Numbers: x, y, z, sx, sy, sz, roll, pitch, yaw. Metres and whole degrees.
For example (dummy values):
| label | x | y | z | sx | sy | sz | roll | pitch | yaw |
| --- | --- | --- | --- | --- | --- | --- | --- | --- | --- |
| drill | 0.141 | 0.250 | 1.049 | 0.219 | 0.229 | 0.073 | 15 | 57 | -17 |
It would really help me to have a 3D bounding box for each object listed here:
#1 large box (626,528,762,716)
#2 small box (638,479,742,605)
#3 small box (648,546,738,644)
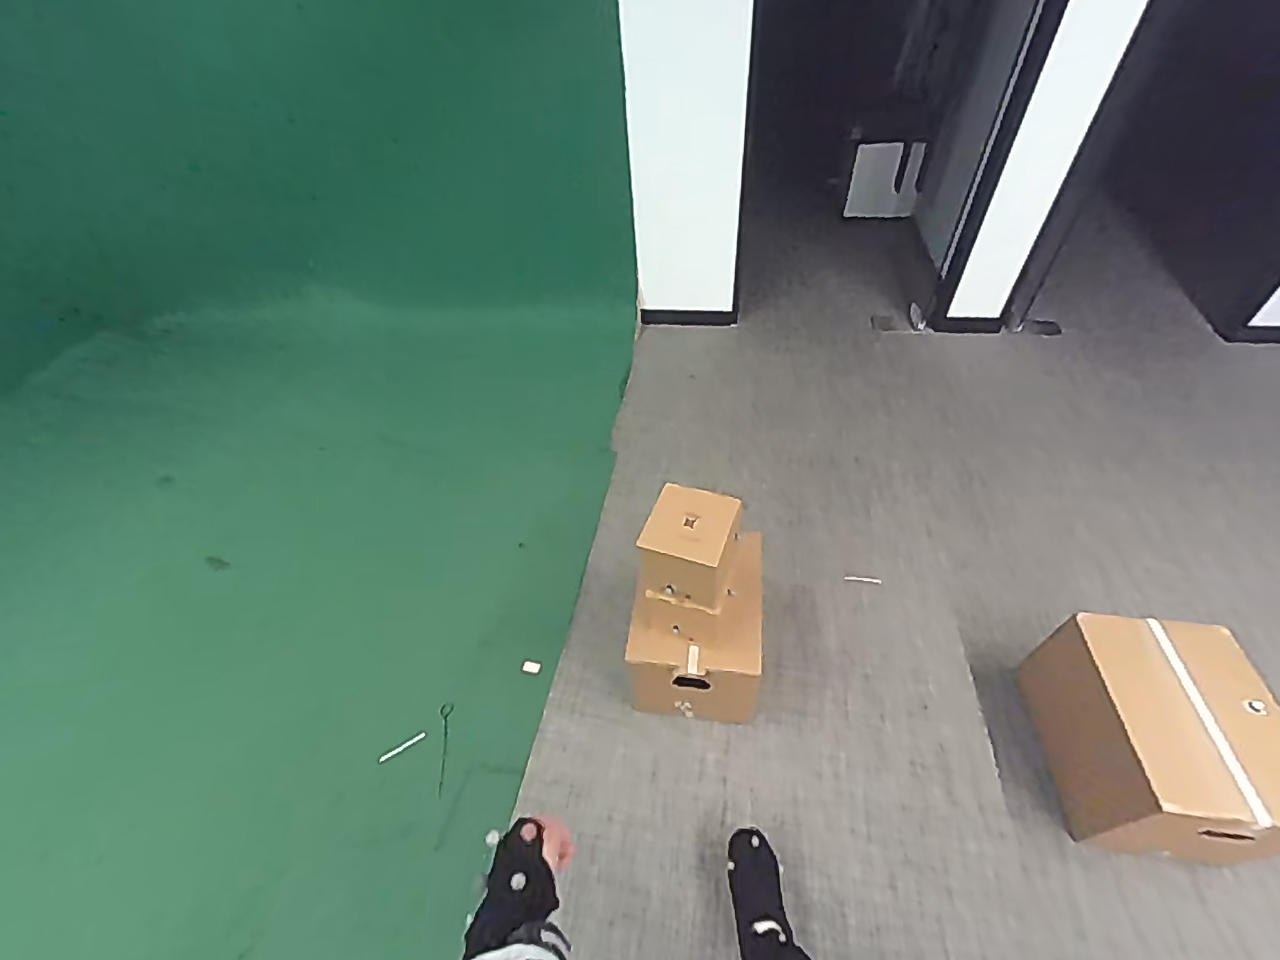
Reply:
| label | x | y | z | sx | sy | sz | roll | pitch | yaw |
| --- | --- | --- | --- | --- | --- | --- | --- | --- | --- |
| large box | 0.153 | 0.373 | 1.457 | 0.320 | 0.320 | 0.408 | 3 | 47 | 8 |
| small box | 0.107 | 0.130 | 1.133 | 0.168 | 0.176 | 0.179 | 13 | 51 | 19 |
| small box | 0.123 | 0.247 | 1.246 | 0.168 | 0.176 | 0.179 | 11 | 50 | 16 |
